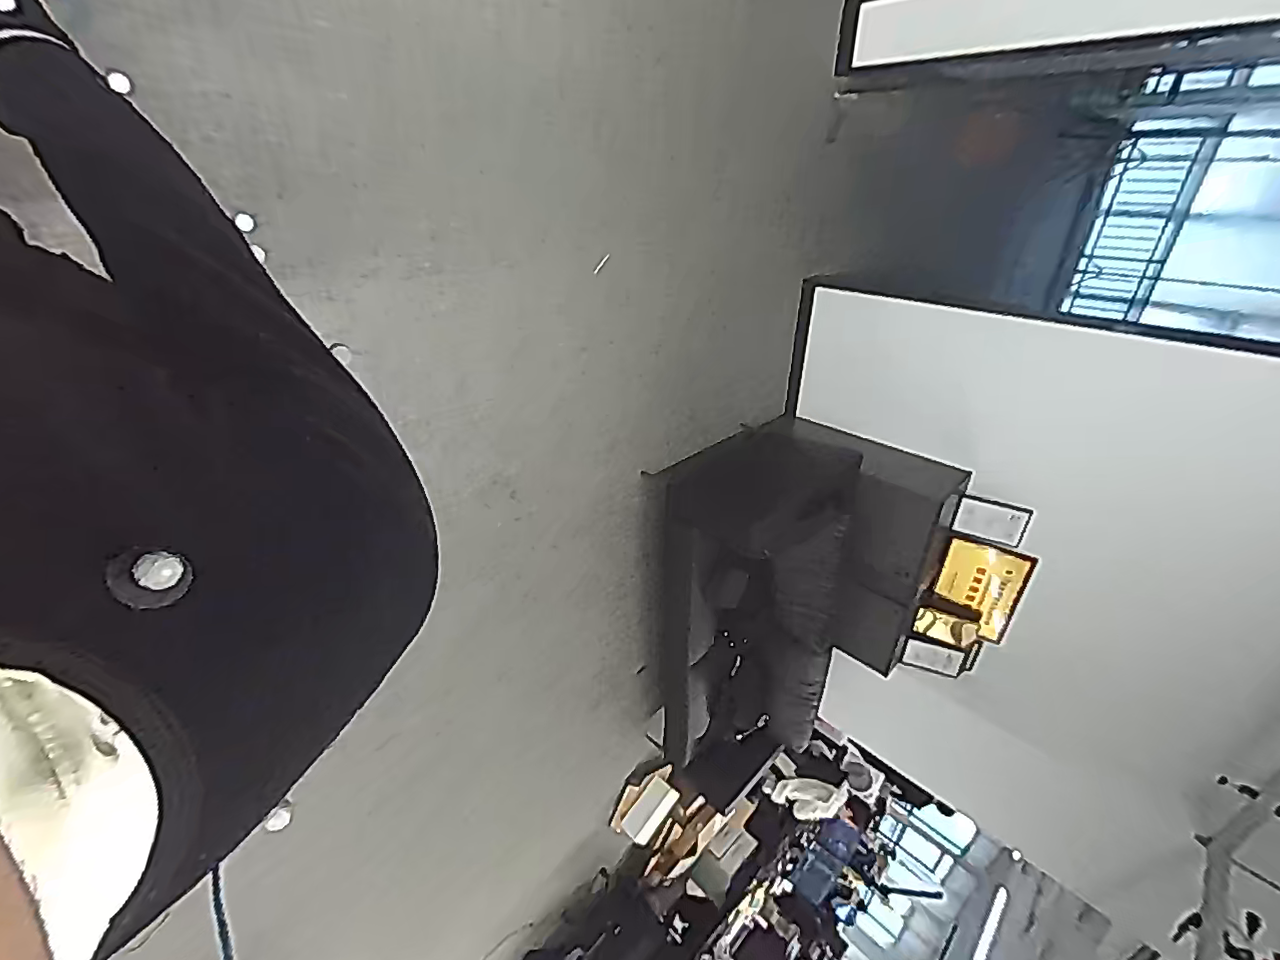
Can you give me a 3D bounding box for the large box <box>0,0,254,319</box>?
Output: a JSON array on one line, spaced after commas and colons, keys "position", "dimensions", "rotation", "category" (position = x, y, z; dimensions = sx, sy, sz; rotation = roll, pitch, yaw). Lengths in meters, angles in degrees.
[{"position": [-0.475, -0.235, 0.200], "dimensions": [0.408, 0.320, 0.320], "rotation": [-21, 101, -17], "category": "large box"}]
